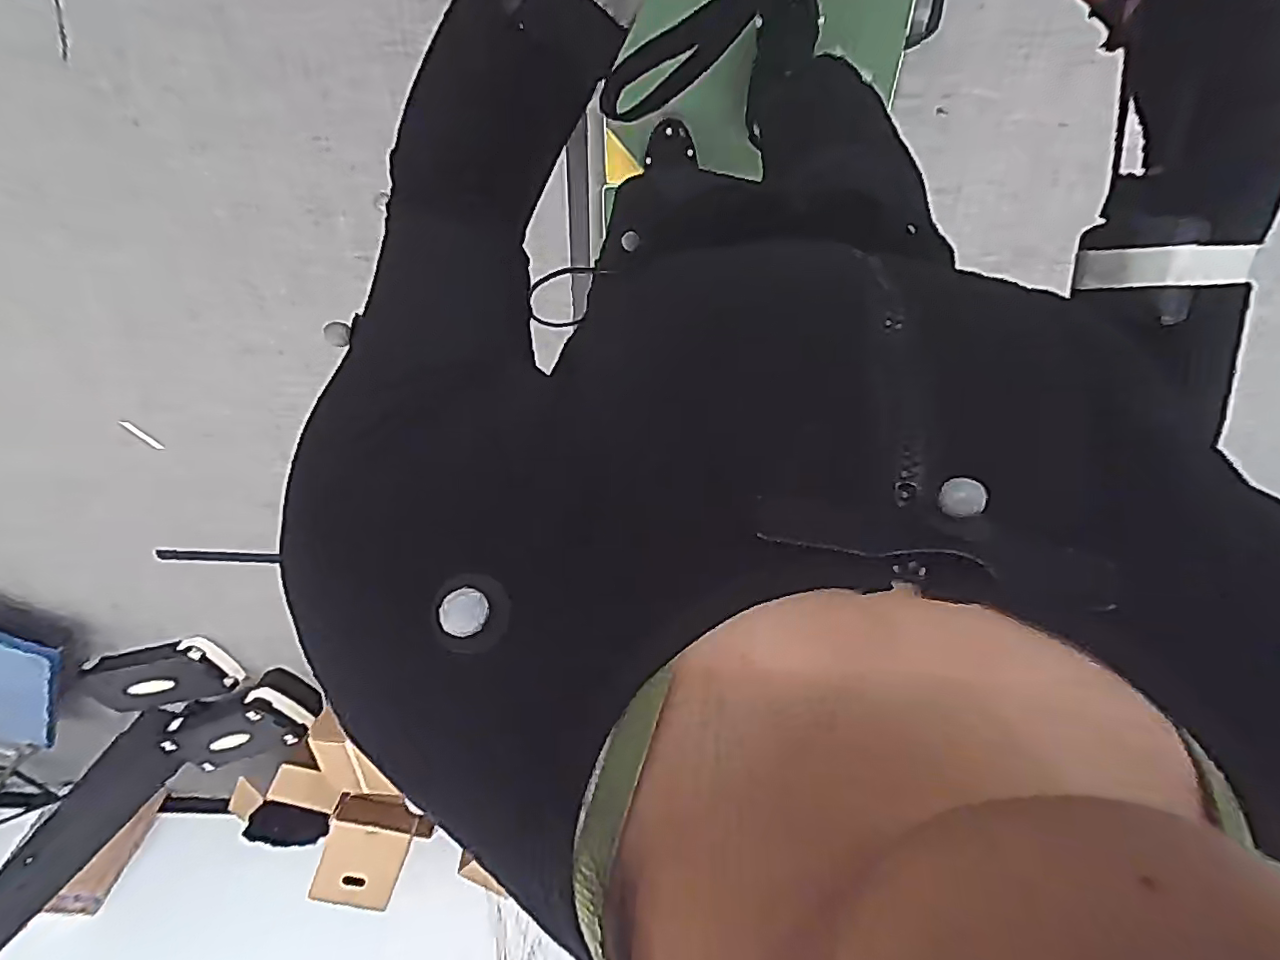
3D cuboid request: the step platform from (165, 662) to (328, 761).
[{"bbox_3d":[-1.791,1.062,2.459,0.684,0.204,0.286,-23,122,16],"label":"step platform"}]
